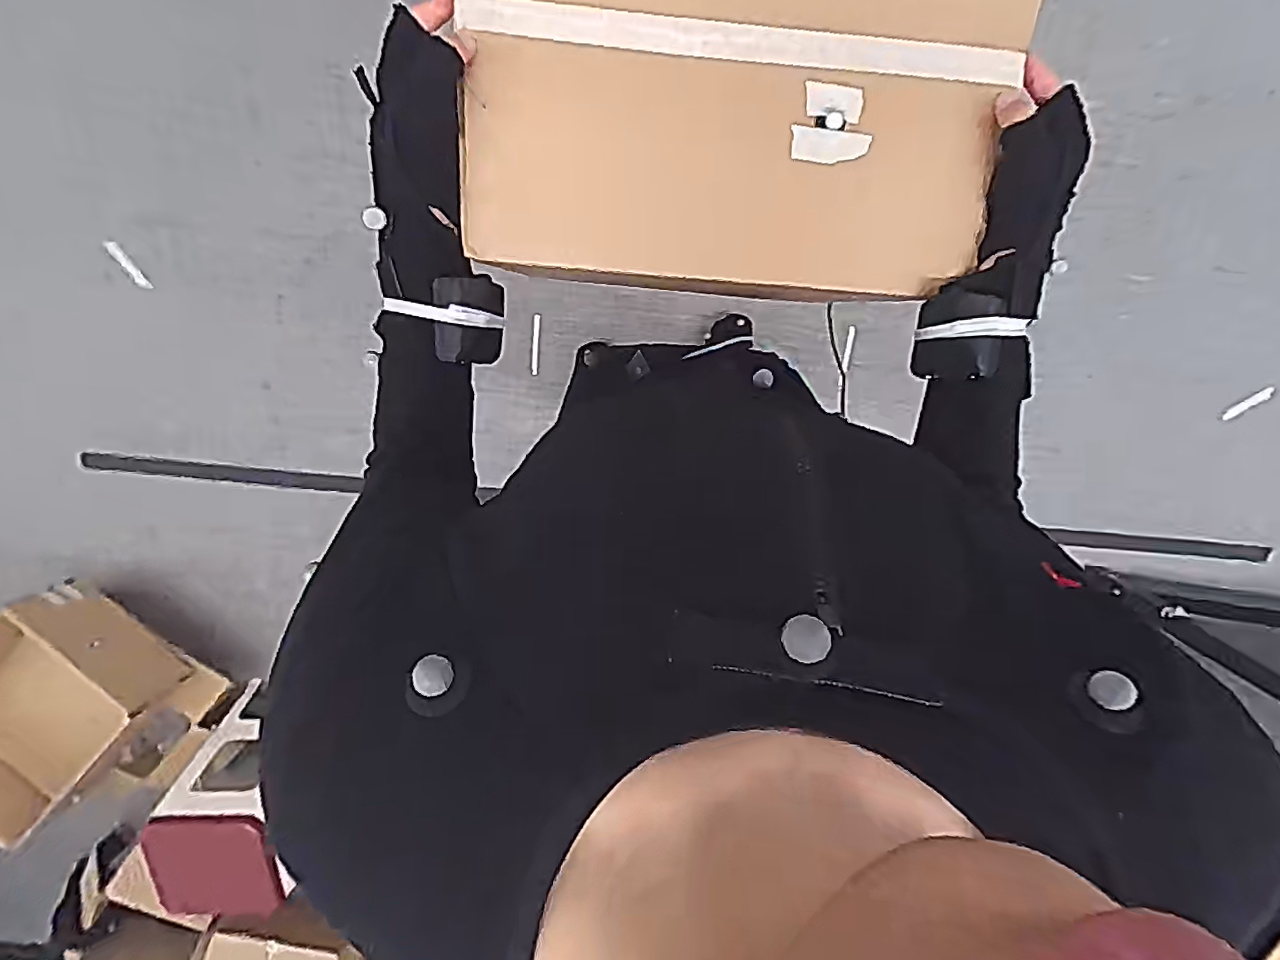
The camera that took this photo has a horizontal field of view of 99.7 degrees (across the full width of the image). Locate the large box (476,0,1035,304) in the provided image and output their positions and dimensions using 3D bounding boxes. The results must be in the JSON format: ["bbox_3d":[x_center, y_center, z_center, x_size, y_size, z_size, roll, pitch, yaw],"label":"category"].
[{"bbox_3d":[0.071,-0.351,0.534,0.408,0.320,0.320,4,109,-5],"label":"large box"}]
